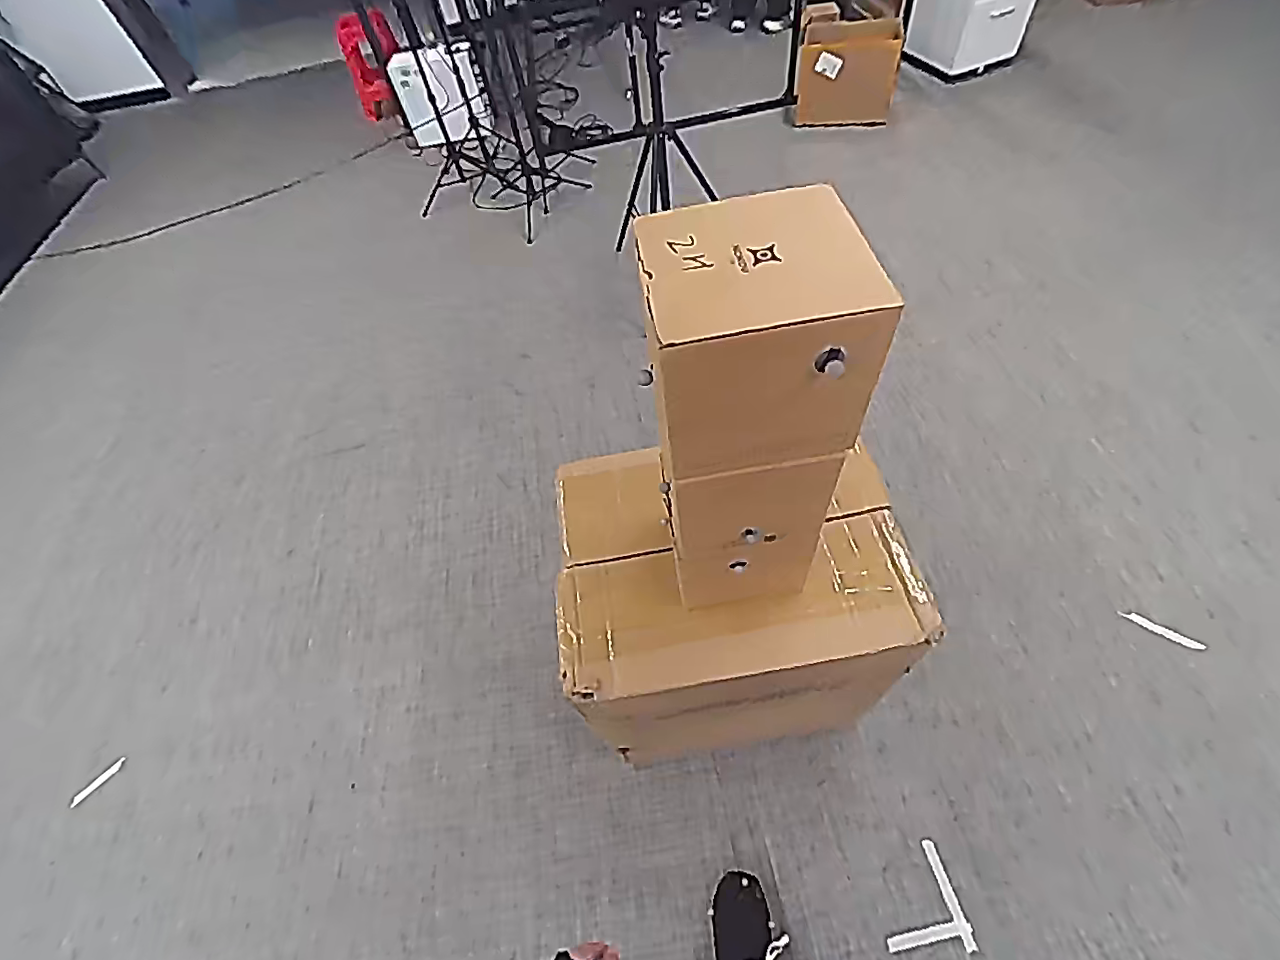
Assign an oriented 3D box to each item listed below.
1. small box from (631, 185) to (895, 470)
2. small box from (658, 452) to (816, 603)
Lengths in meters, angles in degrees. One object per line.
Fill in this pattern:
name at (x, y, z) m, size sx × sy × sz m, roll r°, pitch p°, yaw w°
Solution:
small box at (0.094, -0.129, 0.490) m, size 0.179 × 0.176 × 0.168 m, roll -10°, pitch 55°, yaw 2°
small box at (0.128, 0.059, 0.758) m, size 0.179 × 0.176 × 0.168 m, roll -9°, pitch 55°, yaw 2°
